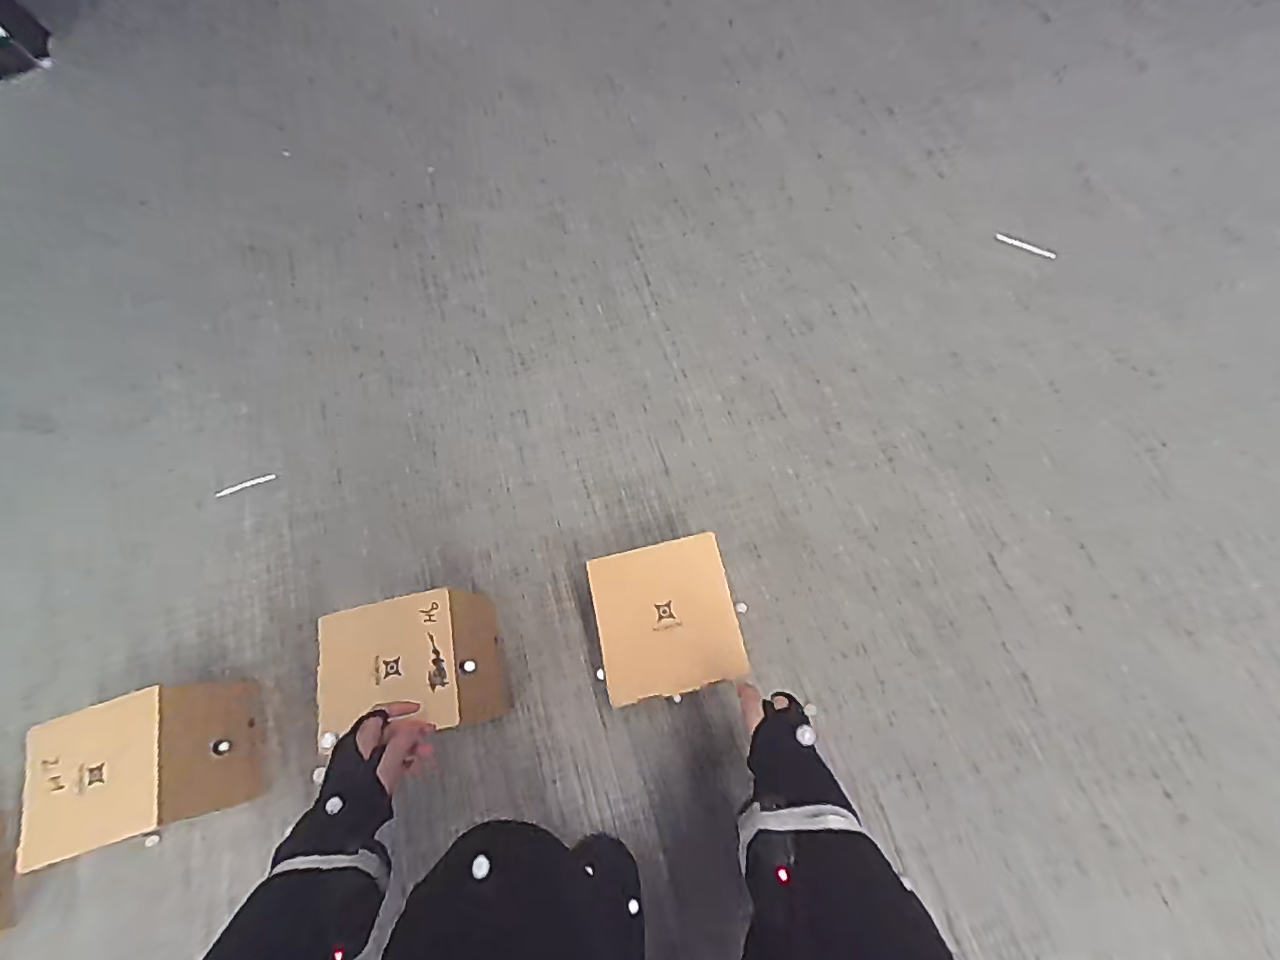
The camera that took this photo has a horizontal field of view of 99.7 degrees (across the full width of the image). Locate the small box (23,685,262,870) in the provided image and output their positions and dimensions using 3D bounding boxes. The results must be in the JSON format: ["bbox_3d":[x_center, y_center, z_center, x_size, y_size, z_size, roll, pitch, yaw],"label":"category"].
[{"bbox_3d":[-0.649,0.383,0.731,0.179,0.176,0.168,-18,68,0],"label":"small box"}]

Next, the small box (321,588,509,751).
[{"bbox_3d":[-0.296,0.257,0.735,0.179,0.176,0.168,-13,70,3],"label":"small box"}]

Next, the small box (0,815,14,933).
[{"bbox_3d":[-0.996,0.576,0.703,0.179,0.176,0.168,-29,70,-5],"label":"small box"}]

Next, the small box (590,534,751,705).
[{"bbox_3d":[0.040,0.190,0.721,0.168,0.176,0.179,-14,69,2],"label":"small box"}]
